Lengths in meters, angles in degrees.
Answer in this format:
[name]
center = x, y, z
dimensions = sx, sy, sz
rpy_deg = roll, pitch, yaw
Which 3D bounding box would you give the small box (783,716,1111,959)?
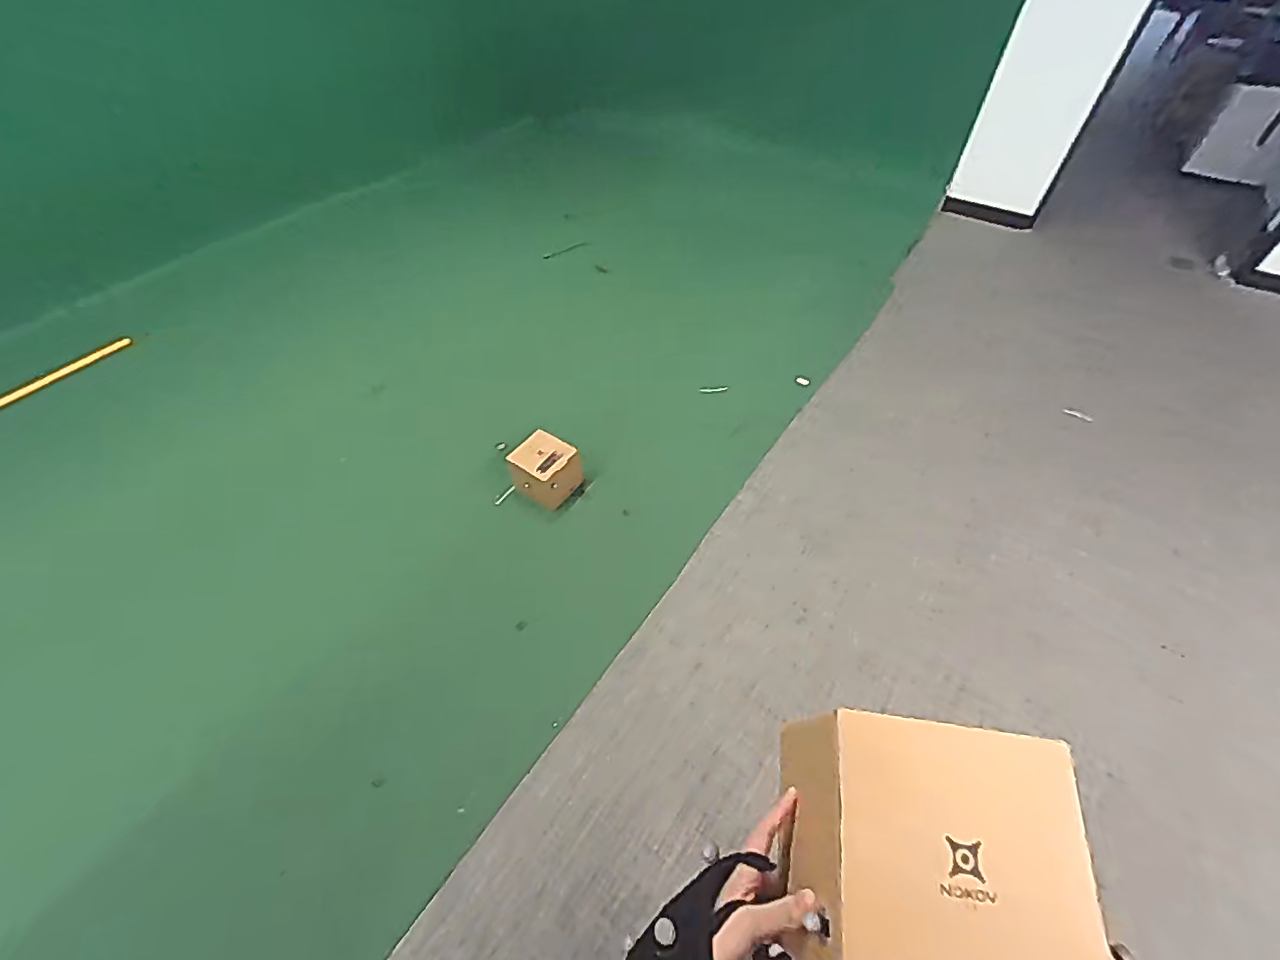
[small box]
center = 0.214, 0.295, 0.424
dimensions = 0.168, 0.176, 0.179
rpy_deg = 7, 64, 4
